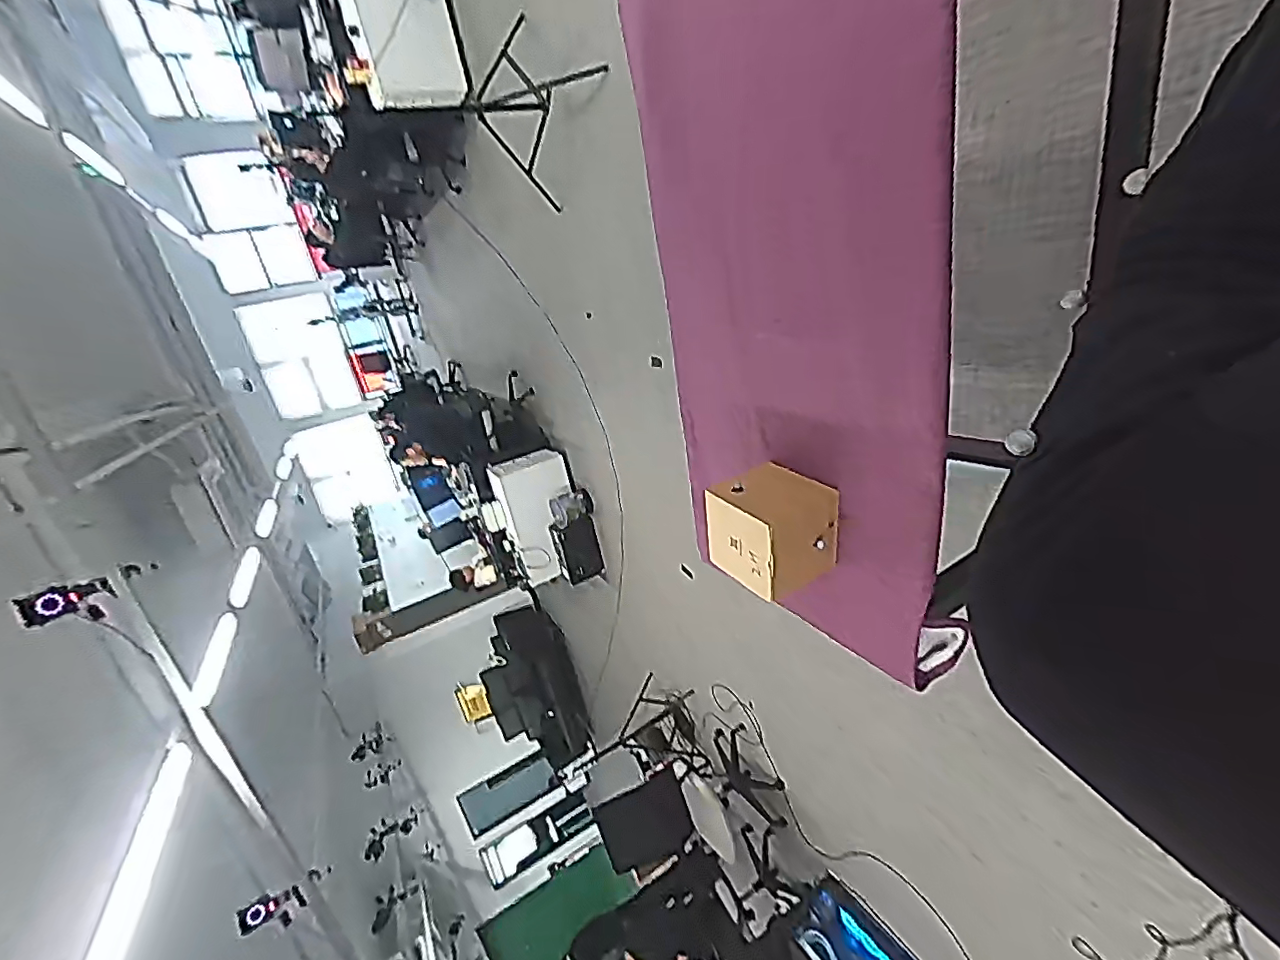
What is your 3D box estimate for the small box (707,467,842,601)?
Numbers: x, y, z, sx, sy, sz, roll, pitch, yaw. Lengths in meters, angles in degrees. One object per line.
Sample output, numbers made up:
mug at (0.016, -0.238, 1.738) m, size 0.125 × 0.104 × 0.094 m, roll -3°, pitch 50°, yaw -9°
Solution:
small box at (0.247, 0.089, 1.009) m, size 0.179 × 0.176 × 0.168 m, roll 32°, pitch 137°, yaw 52°
